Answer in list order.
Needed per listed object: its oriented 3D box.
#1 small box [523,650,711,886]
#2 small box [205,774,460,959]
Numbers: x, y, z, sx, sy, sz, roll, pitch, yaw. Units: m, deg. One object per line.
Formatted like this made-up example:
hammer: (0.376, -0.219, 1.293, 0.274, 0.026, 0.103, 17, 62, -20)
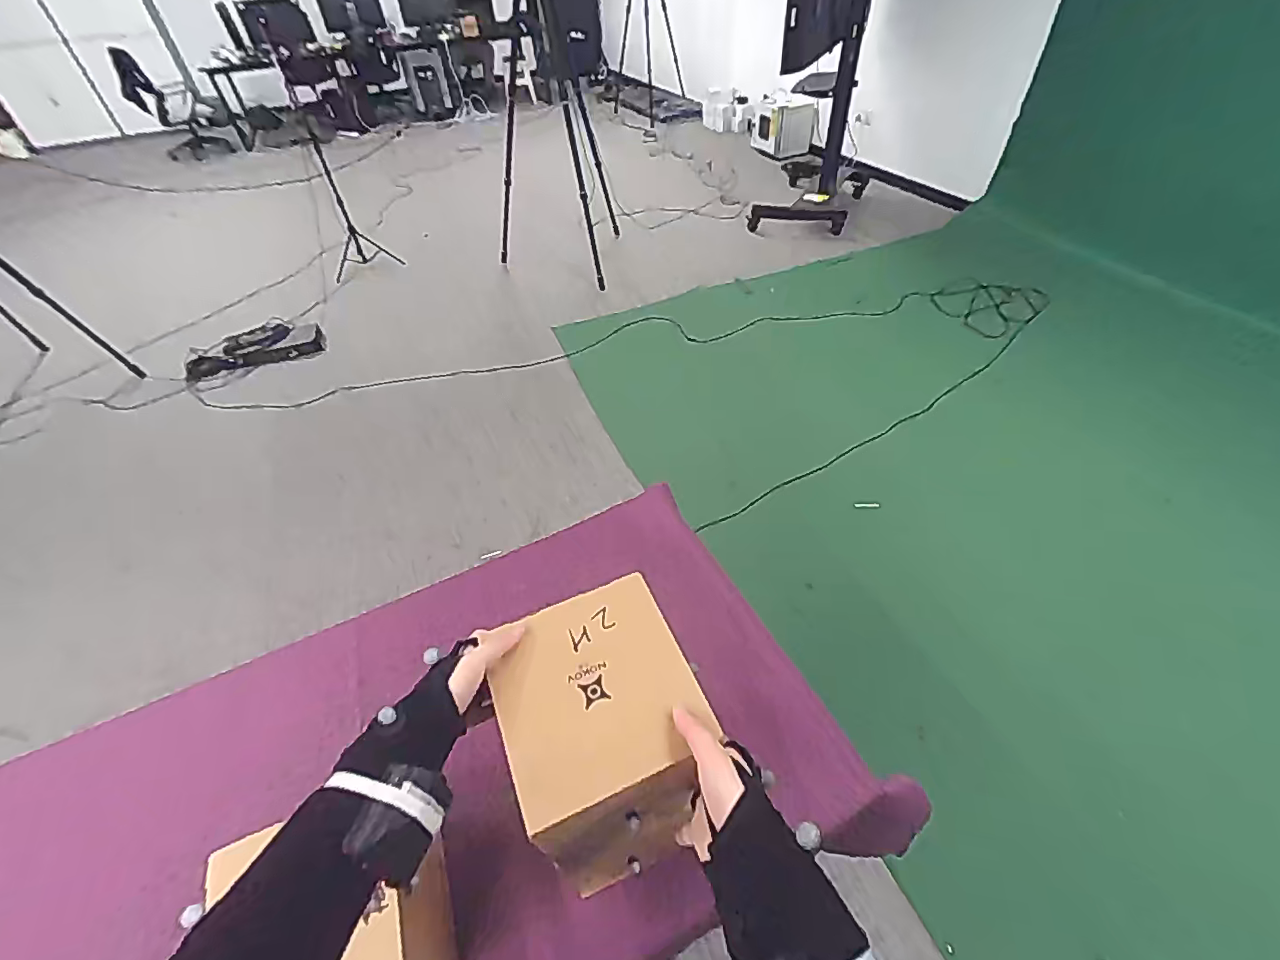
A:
small box: (-0.029, 0.344, 0.649, 0.168, 0.176, 0.179, -18, 47, -13)
small box: (-0.308, 0.451, 0.565, 0.179, 0.176, 0.168, -18, 47, -14)
